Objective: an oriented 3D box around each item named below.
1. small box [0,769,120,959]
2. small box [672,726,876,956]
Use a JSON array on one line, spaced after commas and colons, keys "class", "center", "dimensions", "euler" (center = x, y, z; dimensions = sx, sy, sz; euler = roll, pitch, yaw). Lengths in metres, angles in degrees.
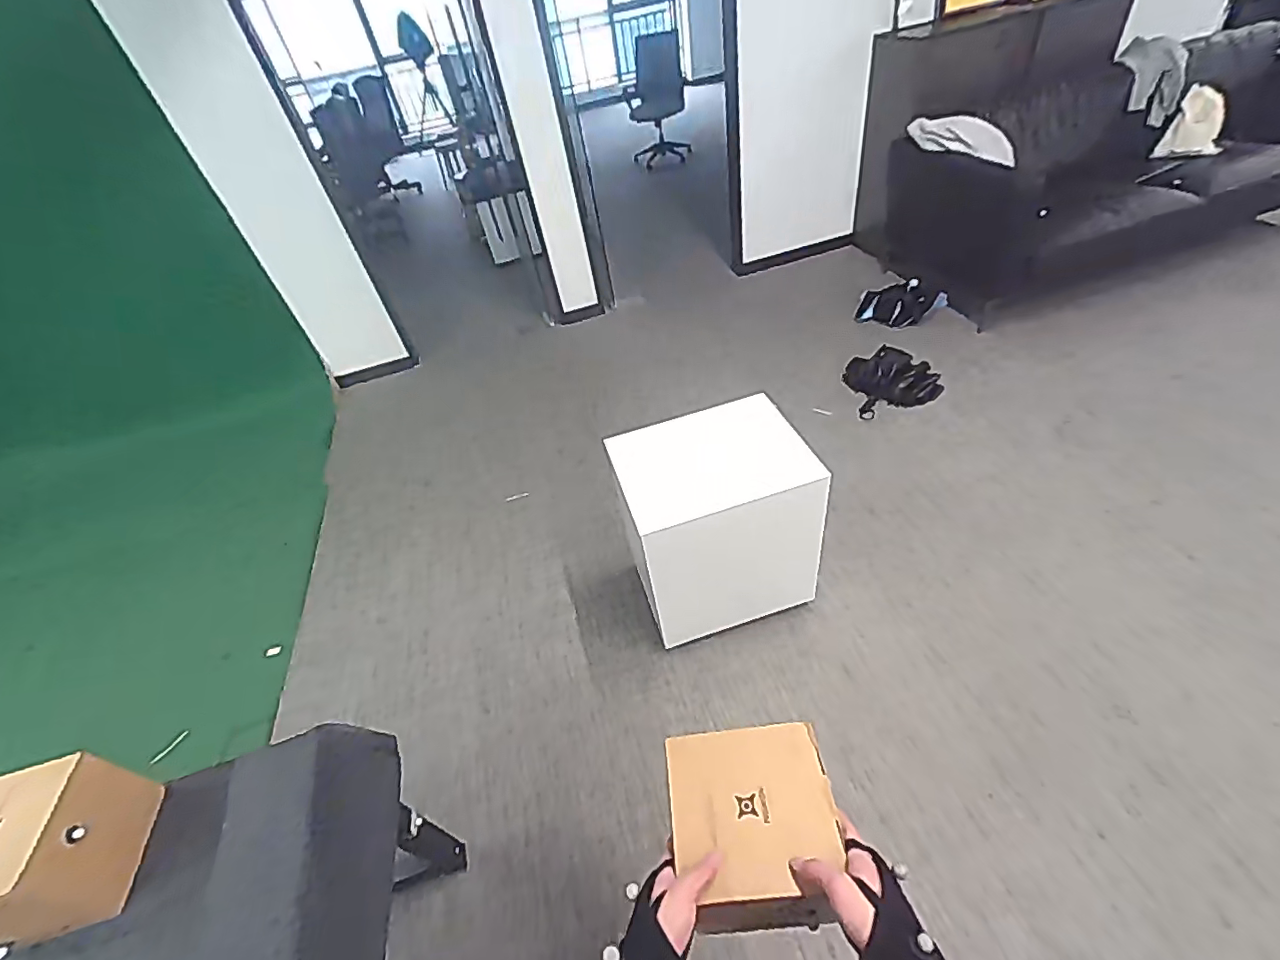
[{"class": "small box", "center": [-0.846, 0.516, 0.700], "dimensions": [0.168, 0.176, 0.179], "euler": [-15, 42, -7]}, {"class": "small box", "center": [0.139, 0.407, 0.610], "dimensions": [0.179, 0.176, 0.168], "euler": [-11, 39, 2]}]
